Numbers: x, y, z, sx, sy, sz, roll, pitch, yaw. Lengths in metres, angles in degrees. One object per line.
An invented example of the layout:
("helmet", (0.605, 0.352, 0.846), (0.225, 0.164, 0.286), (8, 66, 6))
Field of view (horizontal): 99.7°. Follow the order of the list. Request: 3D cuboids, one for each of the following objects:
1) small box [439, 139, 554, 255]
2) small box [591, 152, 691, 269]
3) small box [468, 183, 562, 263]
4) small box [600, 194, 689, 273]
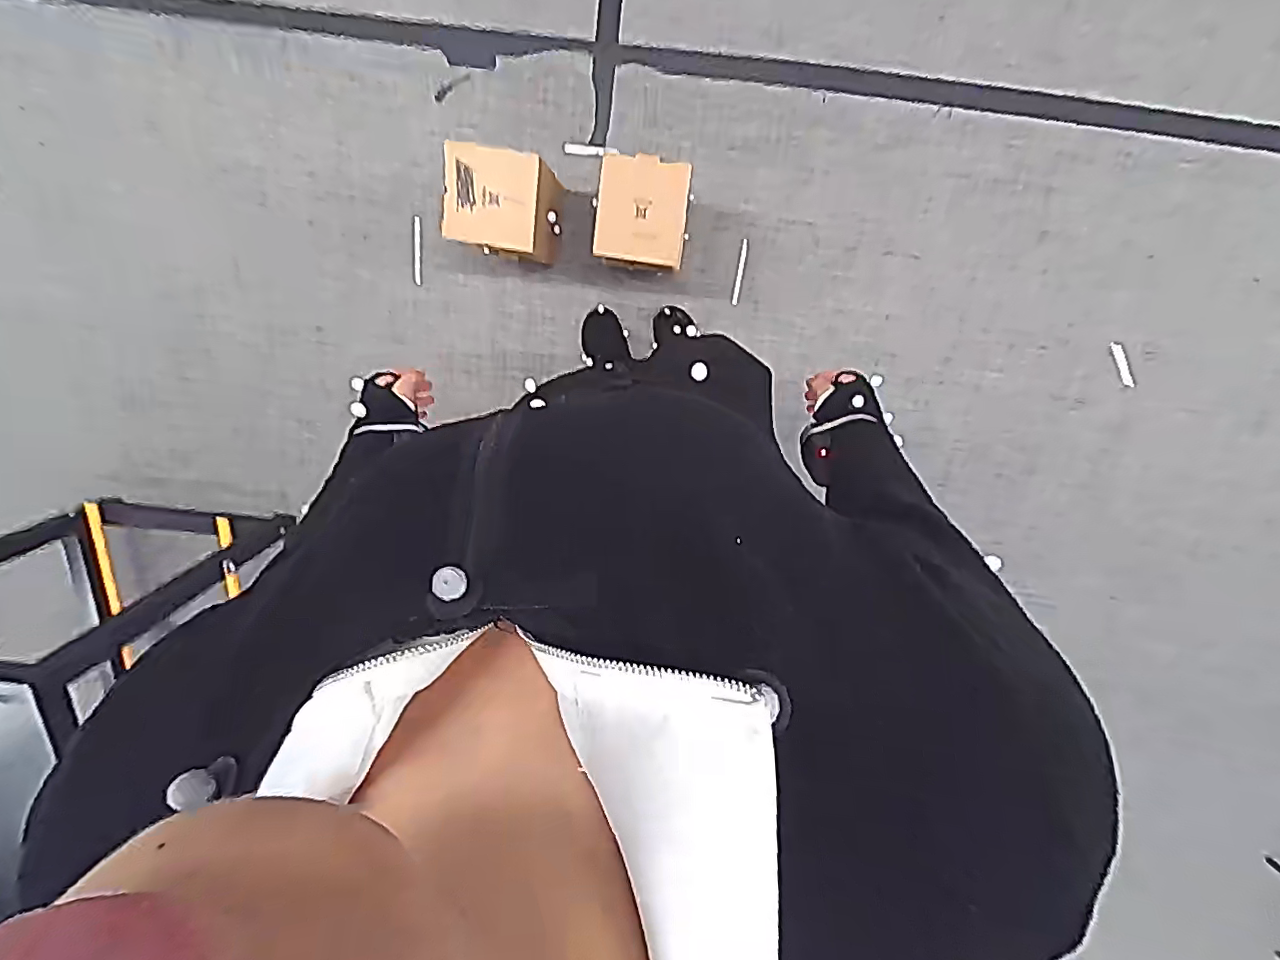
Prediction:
("small box", (-0.278, -0.546, 1.068), (0.179, 0.176, 0.168), (9, 110, -2))
("small box", (0.001, -0.524, 1.073), (0.168, 0.176, 0.179), (8, 111, -1))
("small box", (-0.277, -0.596, 1.226), (0.168, 0.176, 0.179), (10, 110, -1))
("small box", (0.008, -0.568, 1.230), (0.179, 0.176, 0.168), (6, 110, -1))
